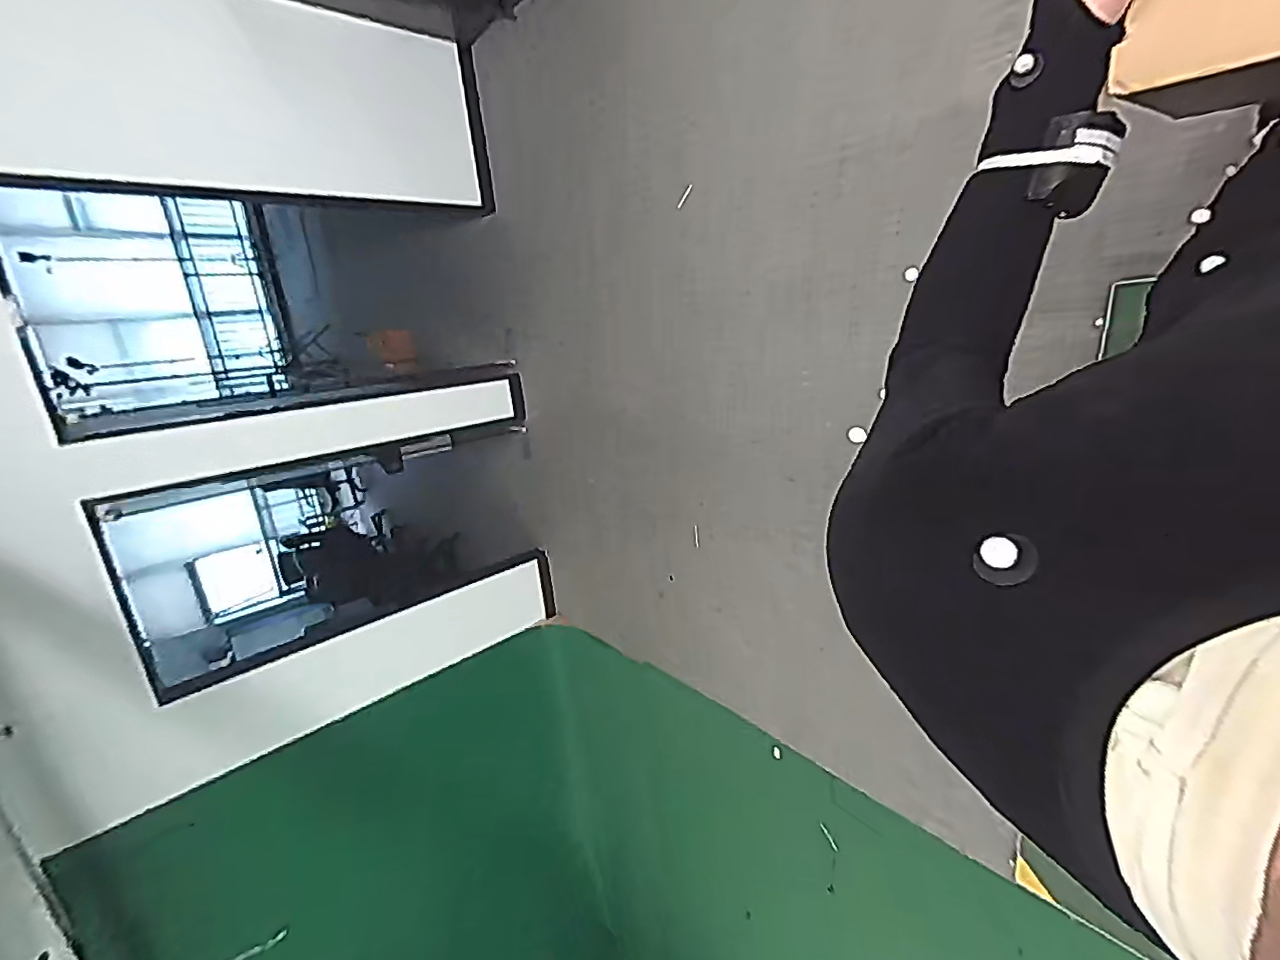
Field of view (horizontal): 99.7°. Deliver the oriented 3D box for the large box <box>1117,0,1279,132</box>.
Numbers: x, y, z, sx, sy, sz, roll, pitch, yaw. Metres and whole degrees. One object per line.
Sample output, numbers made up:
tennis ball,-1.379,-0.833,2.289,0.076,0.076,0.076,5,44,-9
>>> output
large box,0.588,-0.445,0.317,0.408,0.320,0.320,15,121,46
